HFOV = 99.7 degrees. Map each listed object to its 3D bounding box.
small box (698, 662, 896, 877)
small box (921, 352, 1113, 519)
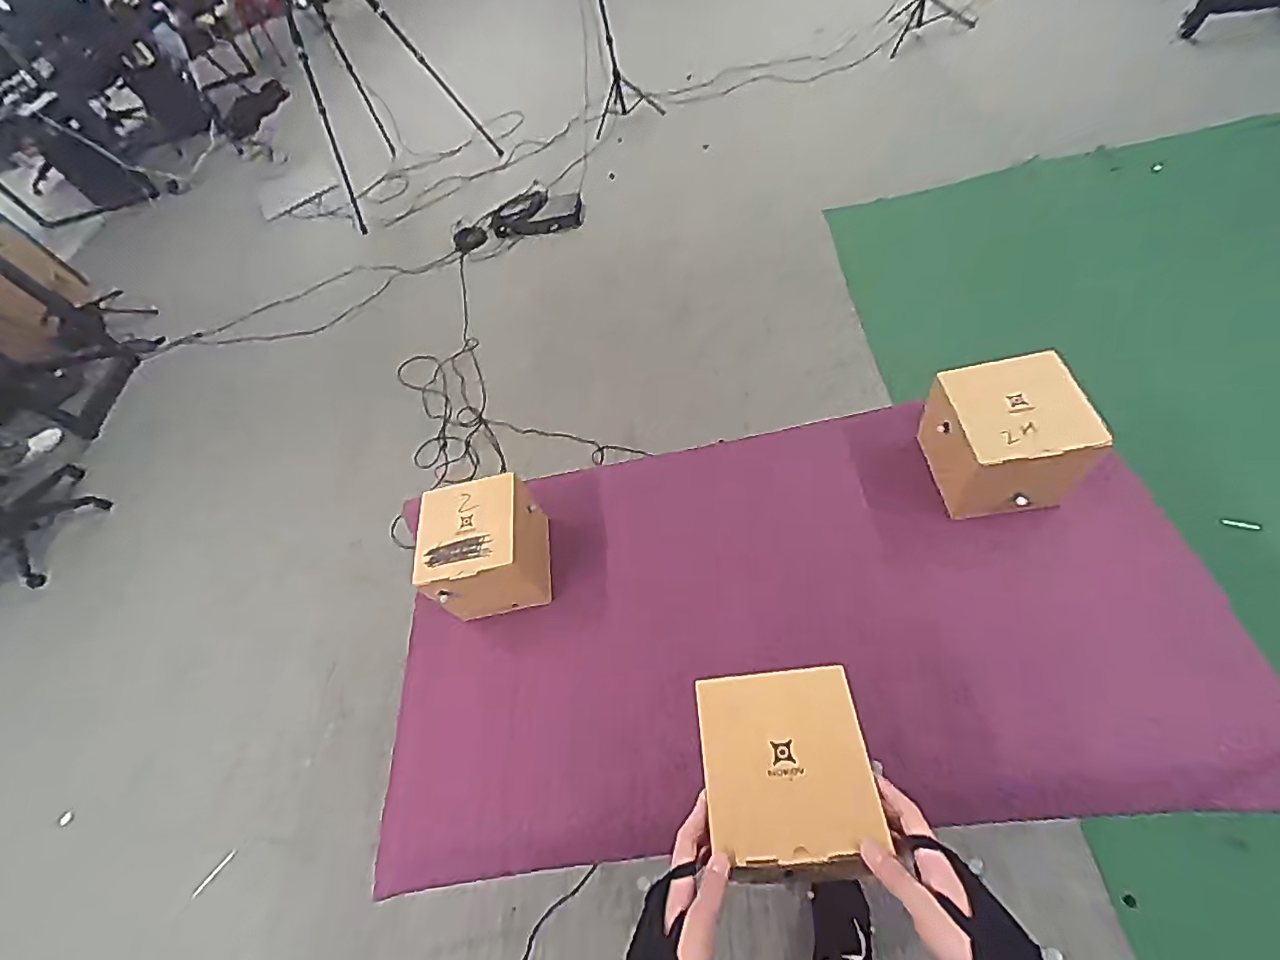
[{"bbox_3d":[0.161,0.327,0.607,0.168,0.176,0.179,-9,50,6],"label":"small box"},{"bbox_3d":[0.554,-0.063,0.829,0.168,0.176,0.179,-10,57,10],"label":"small box"}]
